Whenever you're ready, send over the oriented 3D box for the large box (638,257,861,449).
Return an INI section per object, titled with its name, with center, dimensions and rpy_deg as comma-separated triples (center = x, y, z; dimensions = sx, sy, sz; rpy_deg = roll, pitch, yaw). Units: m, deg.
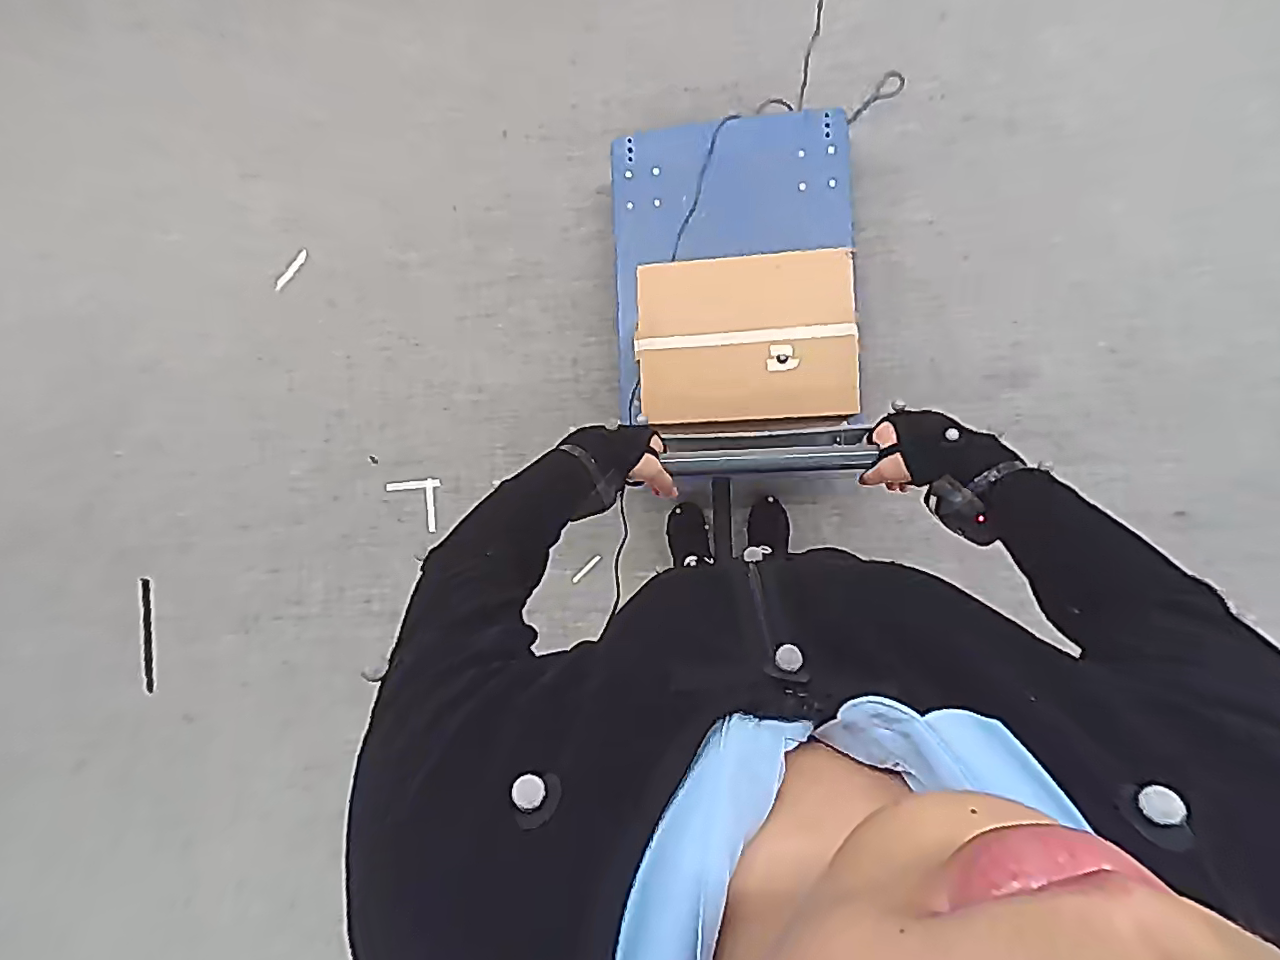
[large box]
center = 0.215, -0.243, 1.156
dimensions = 0.408, 0.320, 0.320
rpy_deg = -2, 89, 7
